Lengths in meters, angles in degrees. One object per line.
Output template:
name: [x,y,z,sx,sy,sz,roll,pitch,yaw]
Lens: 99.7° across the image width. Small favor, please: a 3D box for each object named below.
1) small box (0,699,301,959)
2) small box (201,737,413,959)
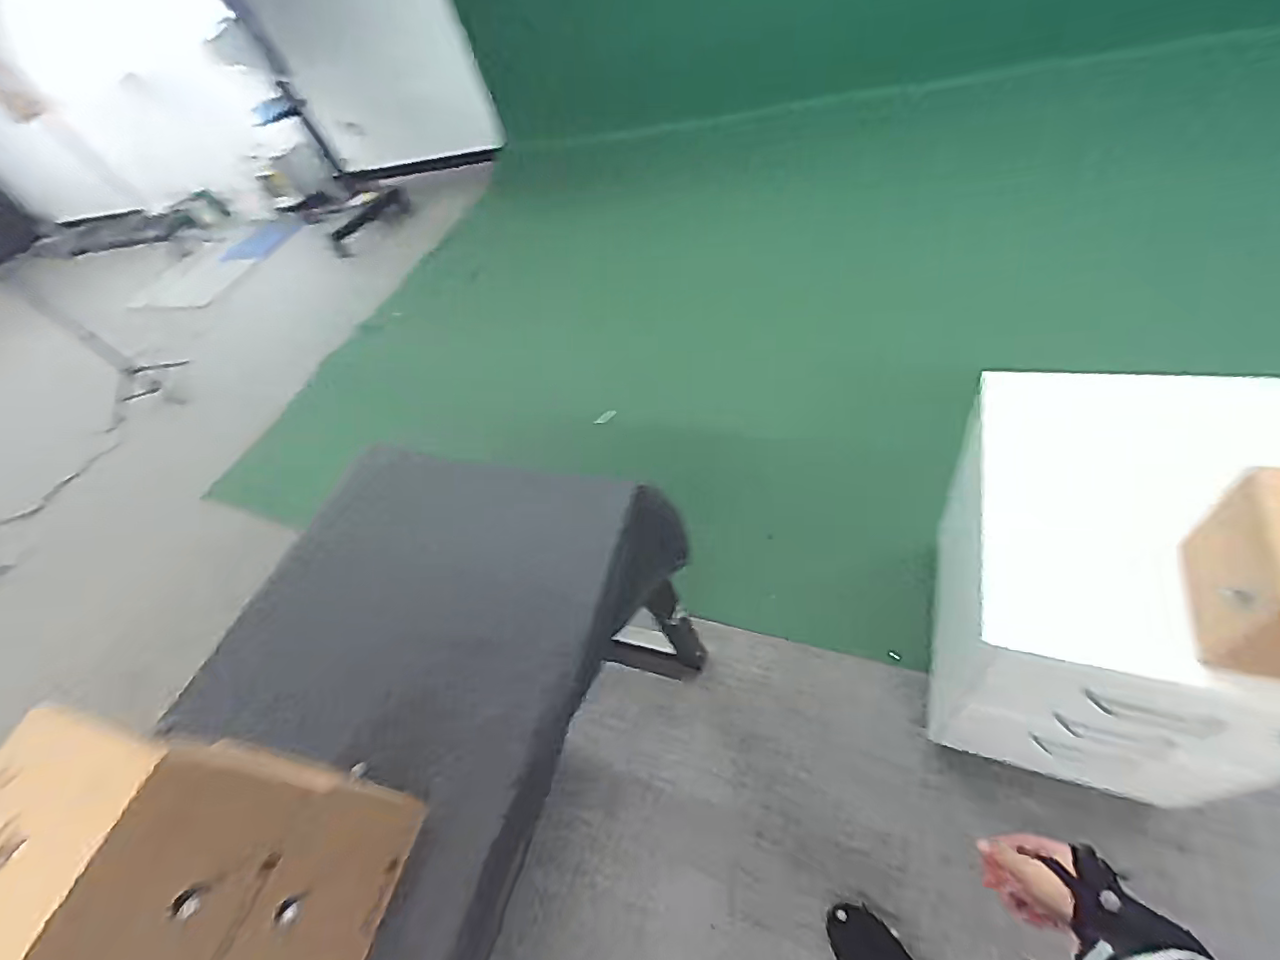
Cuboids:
small box: [-0.423,0.296,0.426,0.179,0.176,0.168,4,55,21]
small box: [-0.380,0.388,0.557,0.179,0.176,0.168,4,55,22]
